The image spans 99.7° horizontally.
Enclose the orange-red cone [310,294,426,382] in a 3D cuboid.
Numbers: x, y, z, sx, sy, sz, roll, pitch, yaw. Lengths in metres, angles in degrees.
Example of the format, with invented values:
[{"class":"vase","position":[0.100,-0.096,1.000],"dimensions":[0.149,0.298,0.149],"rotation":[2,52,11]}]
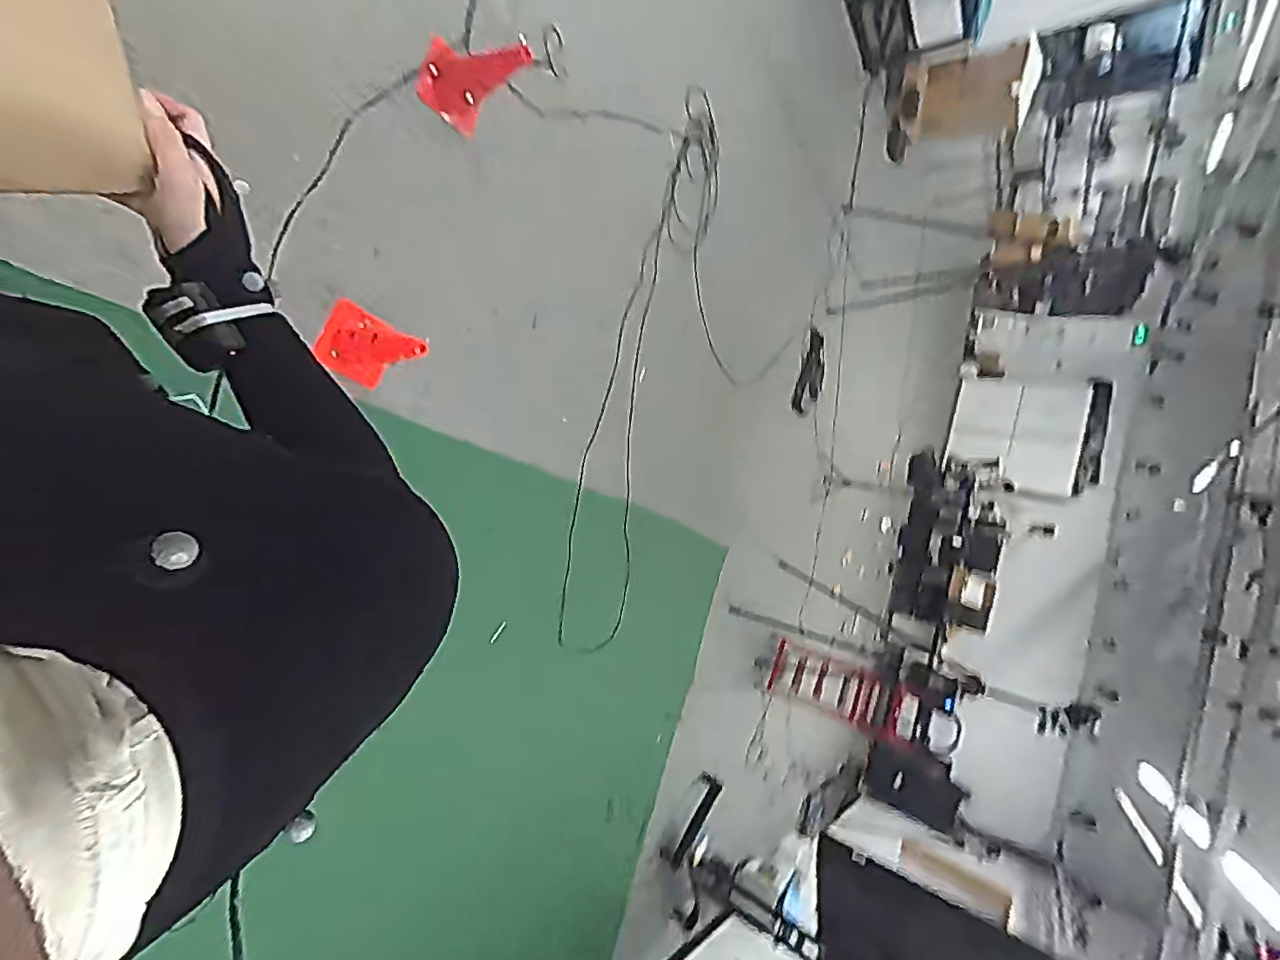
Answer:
[{"class":"orange-red cone","position":[-0.698,-0.381,1.480],"dimensions":[0.199,0.360,0.198],"rotation":[37,72,-52]}]
